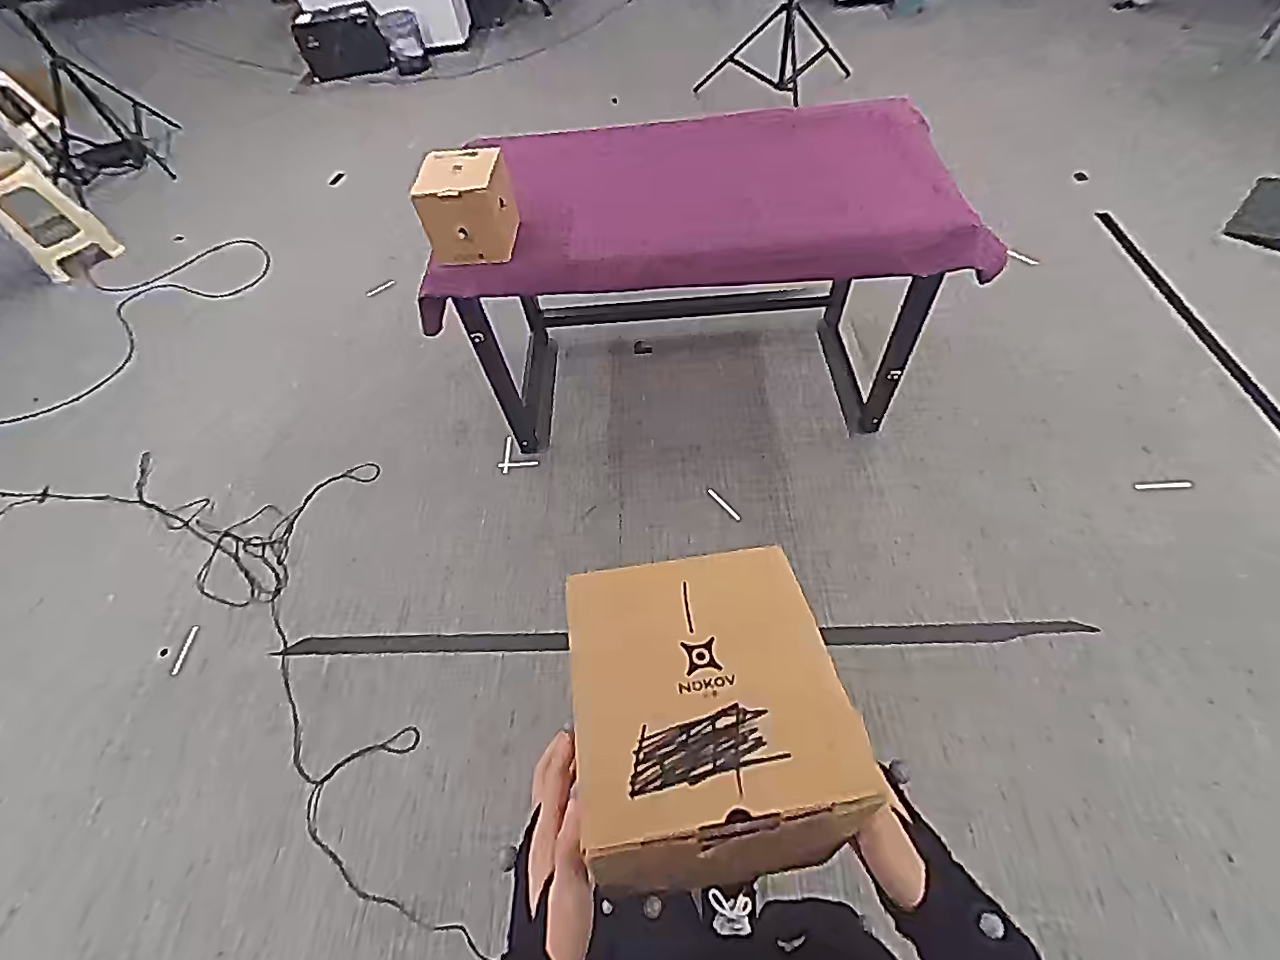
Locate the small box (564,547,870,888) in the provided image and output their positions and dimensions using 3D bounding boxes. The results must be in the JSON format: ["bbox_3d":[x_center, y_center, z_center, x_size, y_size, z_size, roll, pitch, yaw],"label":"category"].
[{"bbox_3d":[0.040,0.178,0.402,0.168,0.176,0.179,-8,44,-5],"label":"small box"}]

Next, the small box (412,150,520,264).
[{"bbox_3d":[-0.378,-0.602,1.211,0.168,0.176,0.179,-2,57,4],"label":"small box"}]
